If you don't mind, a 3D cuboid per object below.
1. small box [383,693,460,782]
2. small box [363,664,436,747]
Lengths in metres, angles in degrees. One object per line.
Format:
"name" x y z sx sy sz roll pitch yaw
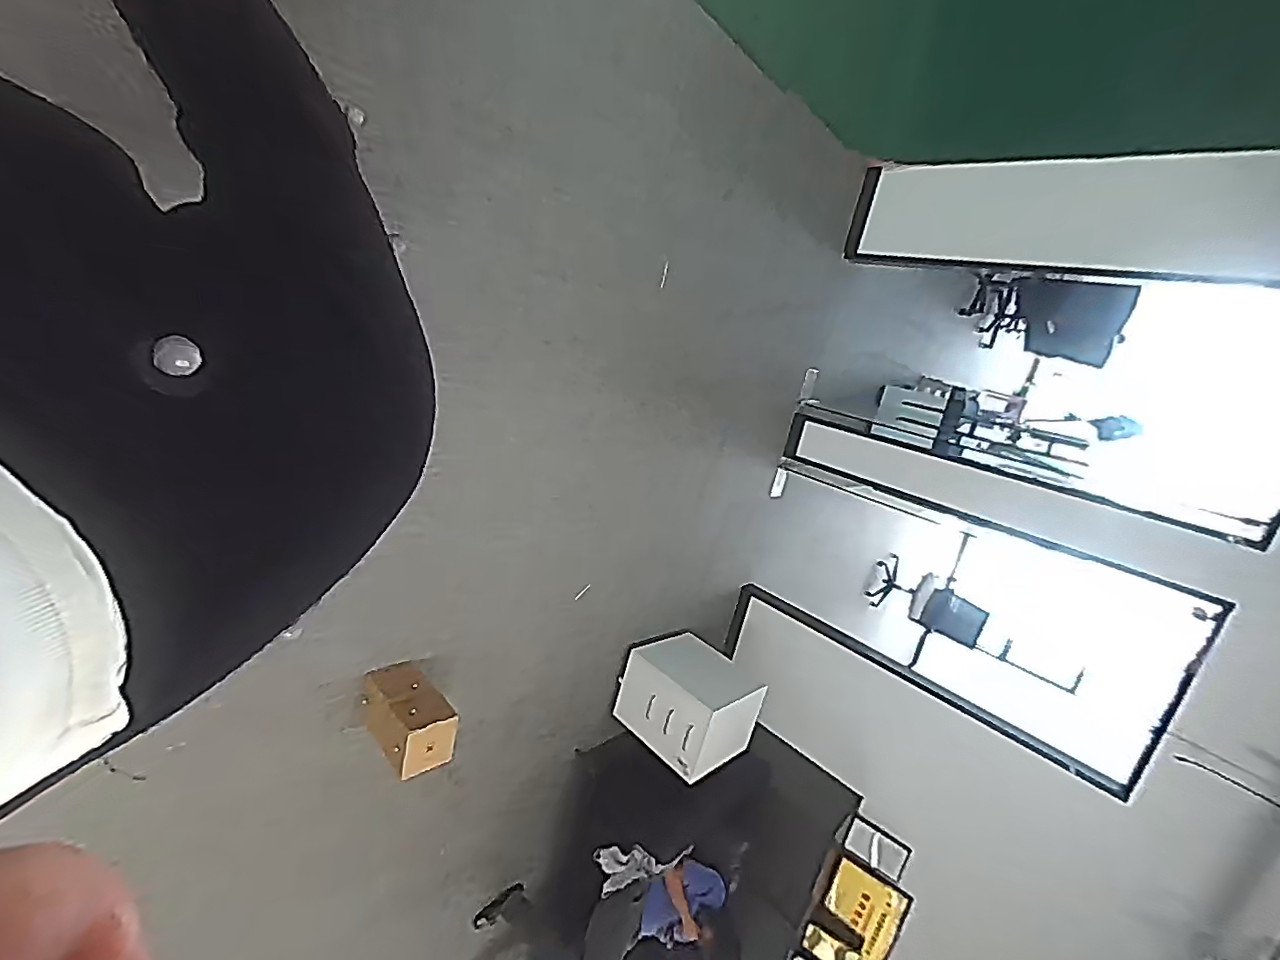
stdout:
"small box" -0.703 0.809 1.730 0.168 0.176 0.179 -3 112 -47
"small box" -0.819 0.756 1.831 0.168 0.176 0.179 0 109 -49
